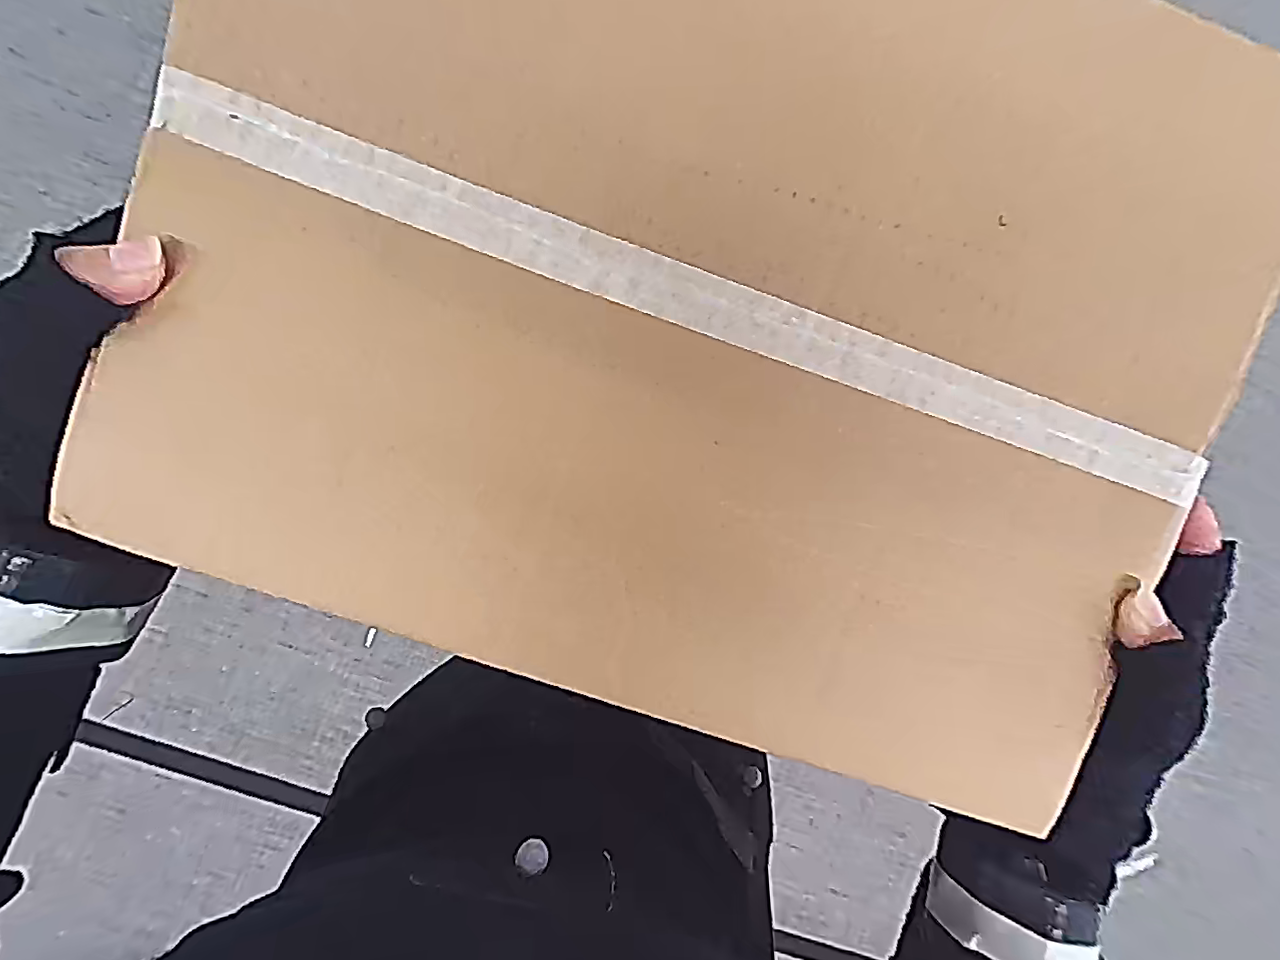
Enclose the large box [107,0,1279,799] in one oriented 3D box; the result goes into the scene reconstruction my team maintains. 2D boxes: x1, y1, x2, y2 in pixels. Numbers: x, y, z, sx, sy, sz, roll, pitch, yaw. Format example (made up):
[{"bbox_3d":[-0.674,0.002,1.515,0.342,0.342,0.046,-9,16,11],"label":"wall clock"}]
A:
[{"bbox_3d":[0.020,-0.076,0.360,0.408,0.320,0.320,19,94,-4],"label":"large box"}]
